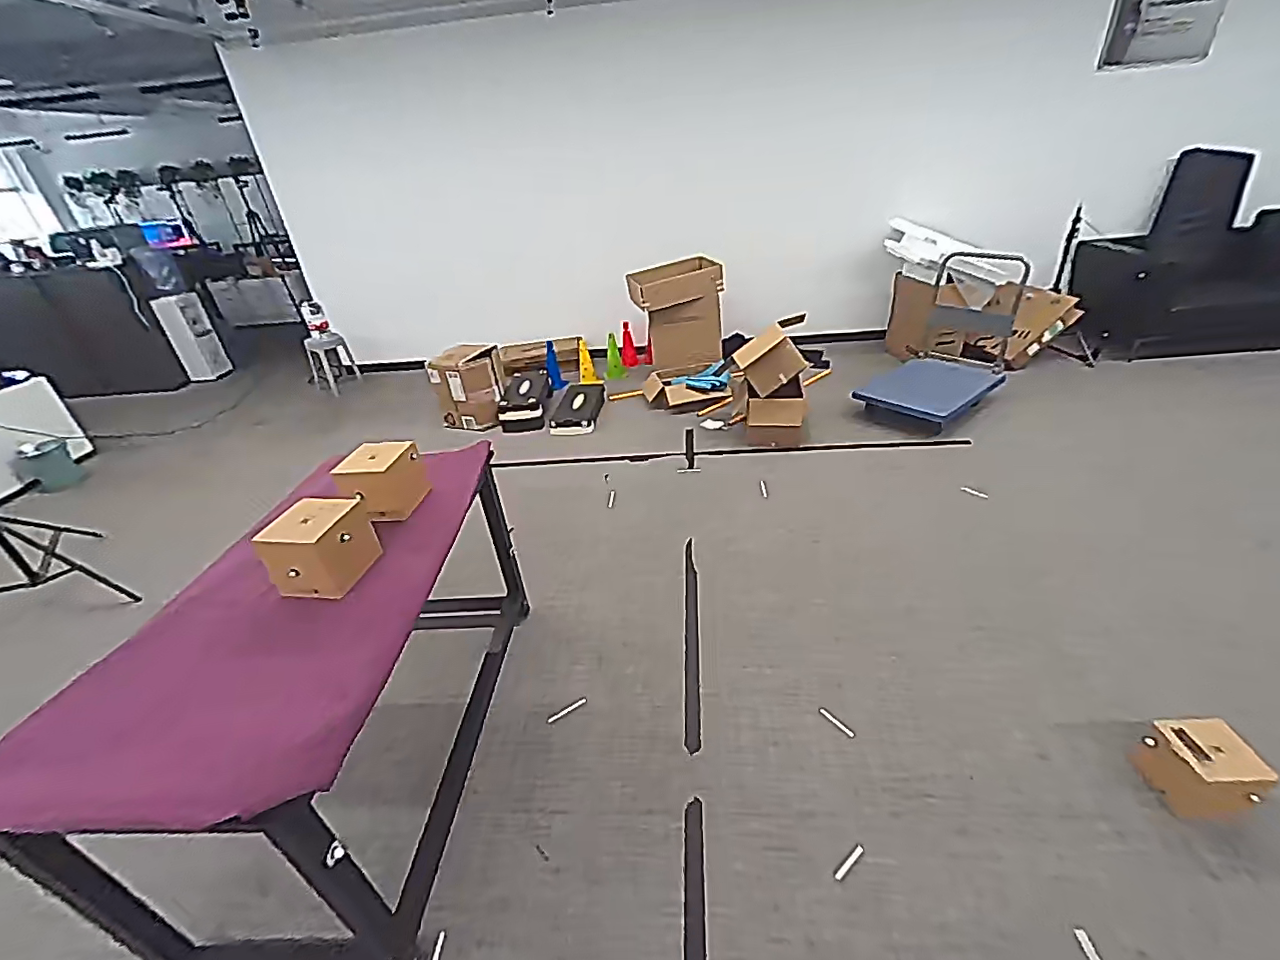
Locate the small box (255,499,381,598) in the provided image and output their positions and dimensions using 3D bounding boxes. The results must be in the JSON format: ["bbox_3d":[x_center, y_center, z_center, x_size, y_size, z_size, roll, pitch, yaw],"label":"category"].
[{"bbox_3d":[-0.760,0.164,1.300,0.168,0.176,0.179,1,31,11],"label":"small box"}]

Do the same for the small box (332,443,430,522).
[{"bbox_3d":[-0.732,0.010,1.555,0.168,0.176,0.179,-2,31,9],"label":"small box"}]
